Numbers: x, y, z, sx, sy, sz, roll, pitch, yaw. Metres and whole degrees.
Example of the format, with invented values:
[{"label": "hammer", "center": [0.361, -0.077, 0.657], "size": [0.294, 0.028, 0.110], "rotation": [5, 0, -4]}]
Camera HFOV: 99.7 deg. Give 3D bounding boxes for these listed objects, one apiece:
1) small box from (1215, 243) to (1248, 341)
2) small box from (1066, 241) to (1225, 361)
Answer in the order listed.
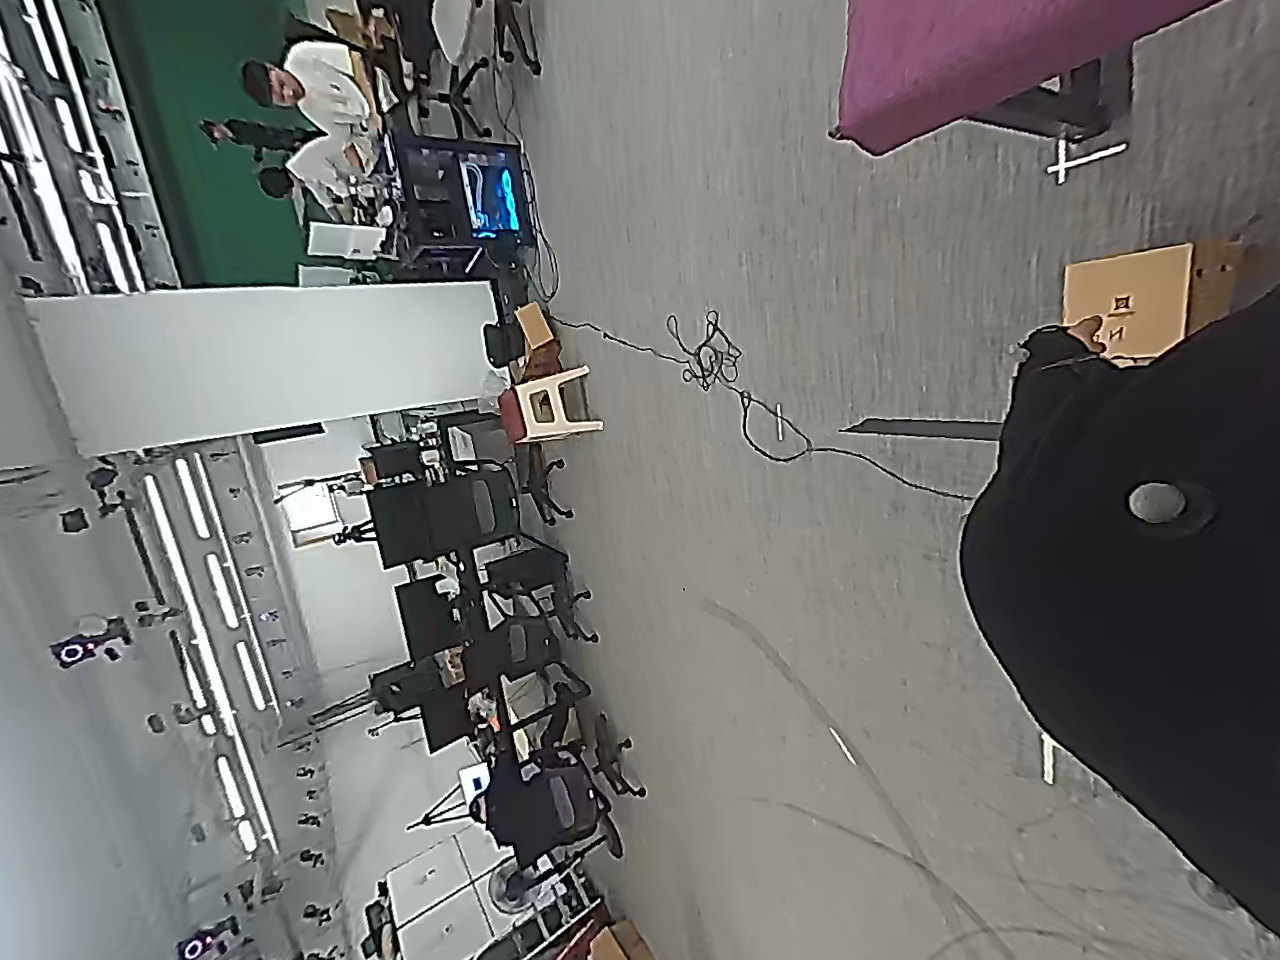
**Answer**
[{"label": "small box", "center": [1.015, -0.351, 1.038], "size": [0.168, 0.176, 0.179], "rotation": [20, 120, 53]}, {"label": "small box", "center": [0.883, -0.309, 0.948], "size": [0.168, 0.176, 0.179], "rotation": [12, 114, 56]}]
